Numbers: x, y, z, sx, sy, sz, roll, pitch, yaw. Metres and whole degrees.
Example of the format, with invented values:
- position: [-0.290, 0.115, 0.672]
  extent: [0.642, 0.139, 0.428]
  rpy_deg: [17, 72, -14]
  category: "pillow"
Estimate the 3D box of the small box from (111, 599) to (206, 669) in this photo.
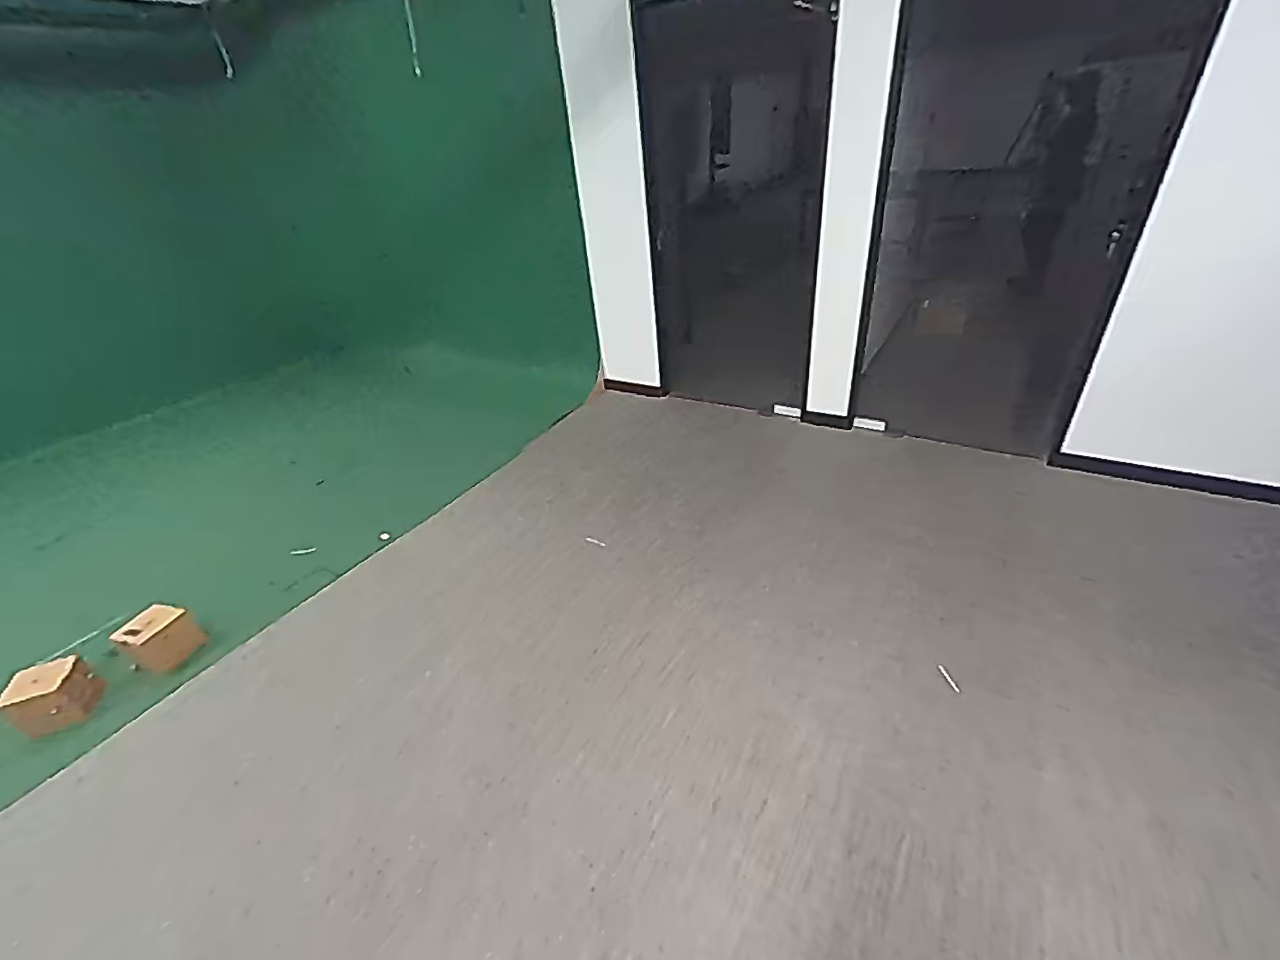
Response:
- position: [-1.797, 0.579, 2.028]
  extent: [0.168, 0.176, 0.179]
  rpy_deg: [6, 34, 16]
  category: "small box"

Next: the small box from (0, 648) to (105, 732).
- position: [-2.004, 0.717, 1.847]
  extent: [0.179, 0.176, 0.168]
  rpy_deg: [-17, 34, -17]
  category: "small box"
